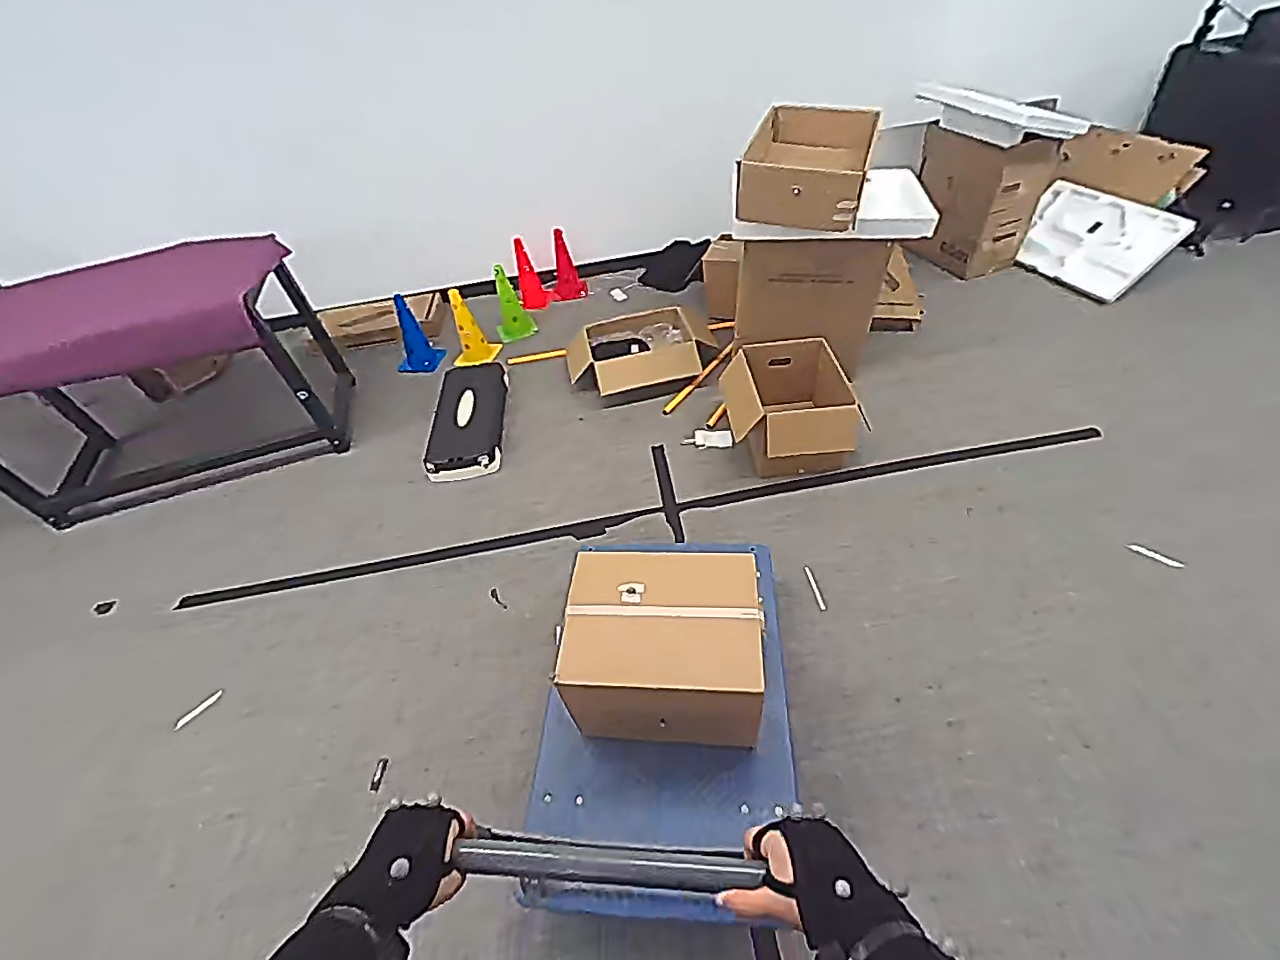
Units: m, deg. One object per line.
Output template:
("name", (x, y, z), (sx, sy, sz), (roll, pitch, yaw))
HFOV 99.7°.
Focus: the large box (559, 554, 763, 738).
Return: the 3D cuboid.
("large box", (0.064, 0.387, 1.253), (0.408, 0.320, 0.320), (-2, 46, 8))
